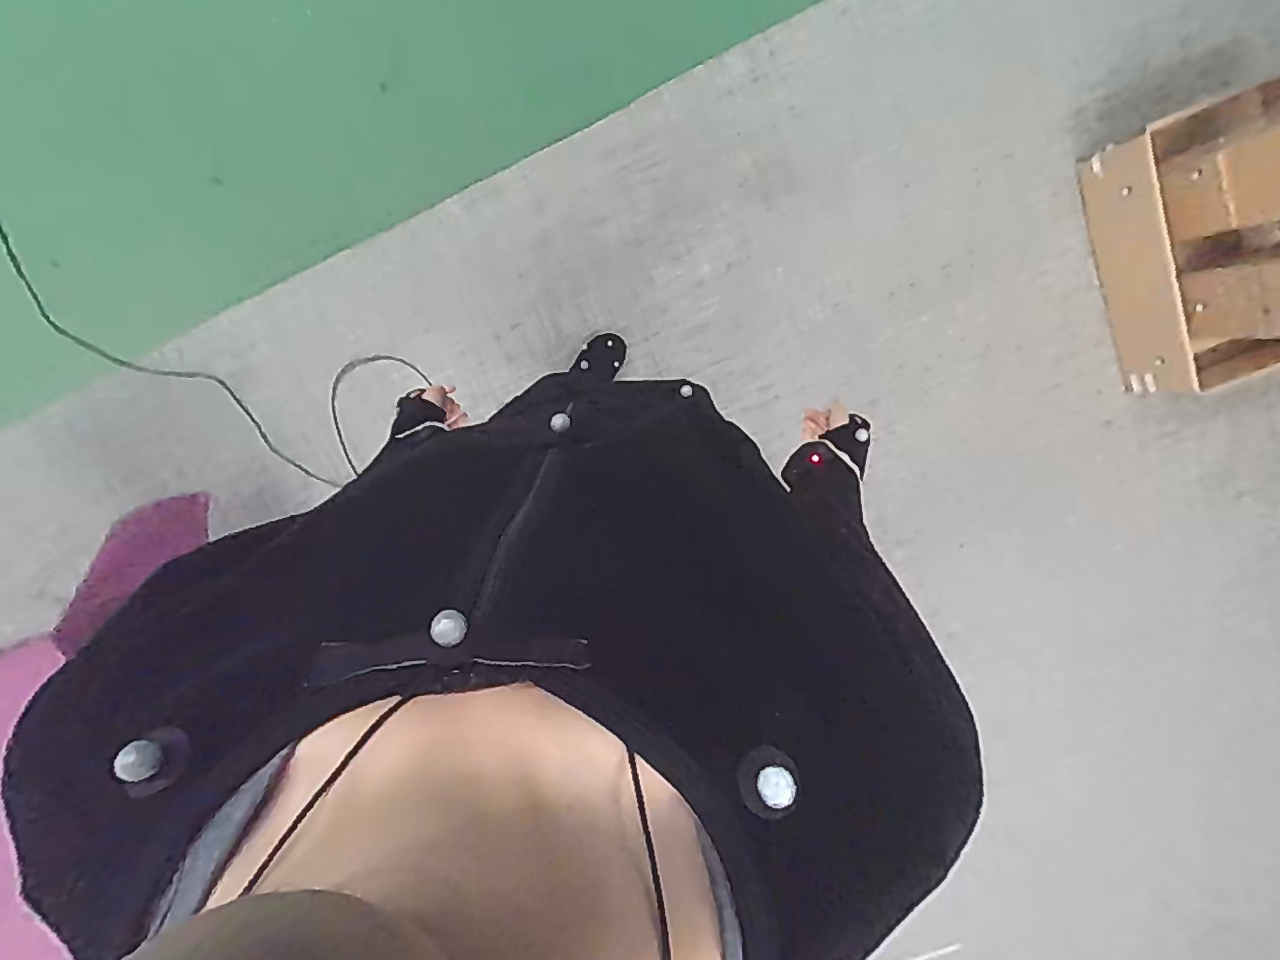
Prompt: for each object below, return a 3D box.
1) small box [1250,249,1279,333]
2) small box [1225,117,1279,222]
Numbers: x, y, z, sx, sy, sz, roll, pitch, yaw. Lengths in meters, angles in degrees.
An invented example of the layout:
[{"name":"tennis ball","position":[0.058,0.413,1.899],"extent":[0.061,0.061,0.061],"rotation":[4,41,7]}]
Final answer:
[{"name":"small box","position":[1.410,-0.409,1.097],"extent":[0.179,0.176,0.168],"rotation":[-21,100,5]},{"name":"small box","position":[1.310,-0.636,1.052],"extent":[0.168,0.176,0.179],"rotation":[-24,102,6]}]
